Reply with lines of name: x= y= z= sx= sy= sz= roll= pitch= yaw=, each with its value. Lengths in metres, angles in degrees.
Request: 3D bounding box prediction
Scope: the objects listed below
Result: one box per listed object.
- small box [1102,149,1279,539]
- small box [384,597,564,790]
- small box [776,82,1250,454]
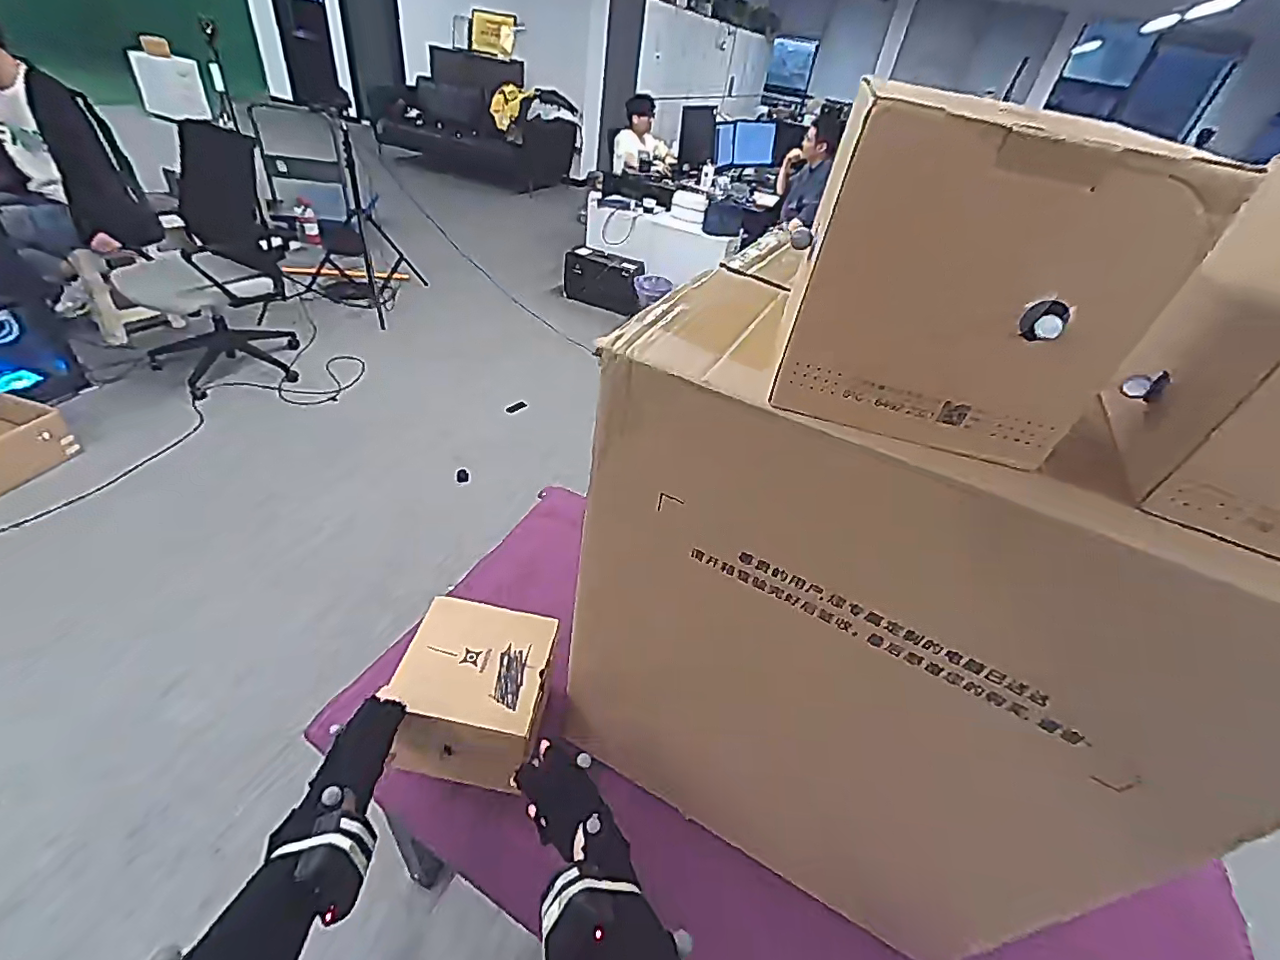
small box: x=0.408 y=-0.065 z=0.300 sx=0.168 sy=0.176 sz=0.179 roll=24 pitch=42 yaw=17
small box: x=-0.211 y=0.288 z=0.725 sx=0.179 sy=0.176 sz=0.168 roll=12 pitch=38 yaw=0
small box: x=0.195 y=-0.141 z=0.354 sx=0.168 sy=0.176 sz=0.179 roll=16 pitch=39 yaw=6
